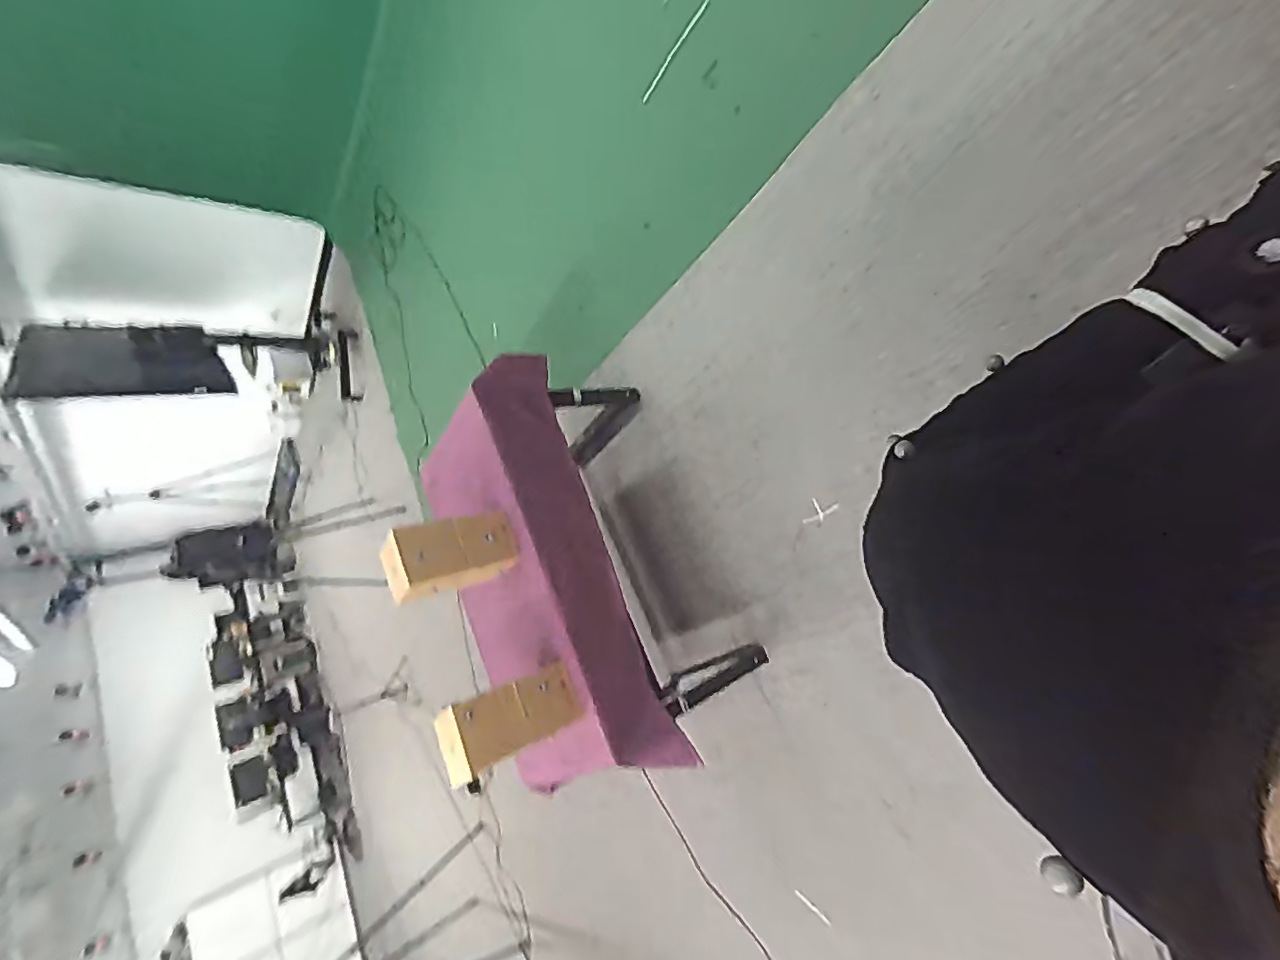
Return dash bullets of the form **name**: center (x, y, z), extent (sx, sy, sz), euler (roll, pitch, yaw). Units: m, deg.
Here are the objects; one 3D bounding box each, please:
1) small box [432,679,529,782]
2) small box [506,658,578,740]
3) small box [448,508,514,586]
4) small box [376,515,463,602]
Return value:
- **small box**: center (-0.411, 0.644, 1.399), extent (0.168, 0.176, 0.179), euler (-44, 64, 42)
- **small box**: center (-0.294, 0.619, 1.510), extent (0.179, 0.176, 0.168), euler (-42, 66, 43)
- **small box**: center (-0.505, 0.201, 1.653), extent (0.179, 0.176, 0.168), euler (-40, 69, 43)
- **small box**: center (-0.625, 0.220, 1.540), extent (0.168, 0.176, 0.179), euler (-41, 68, 43)
